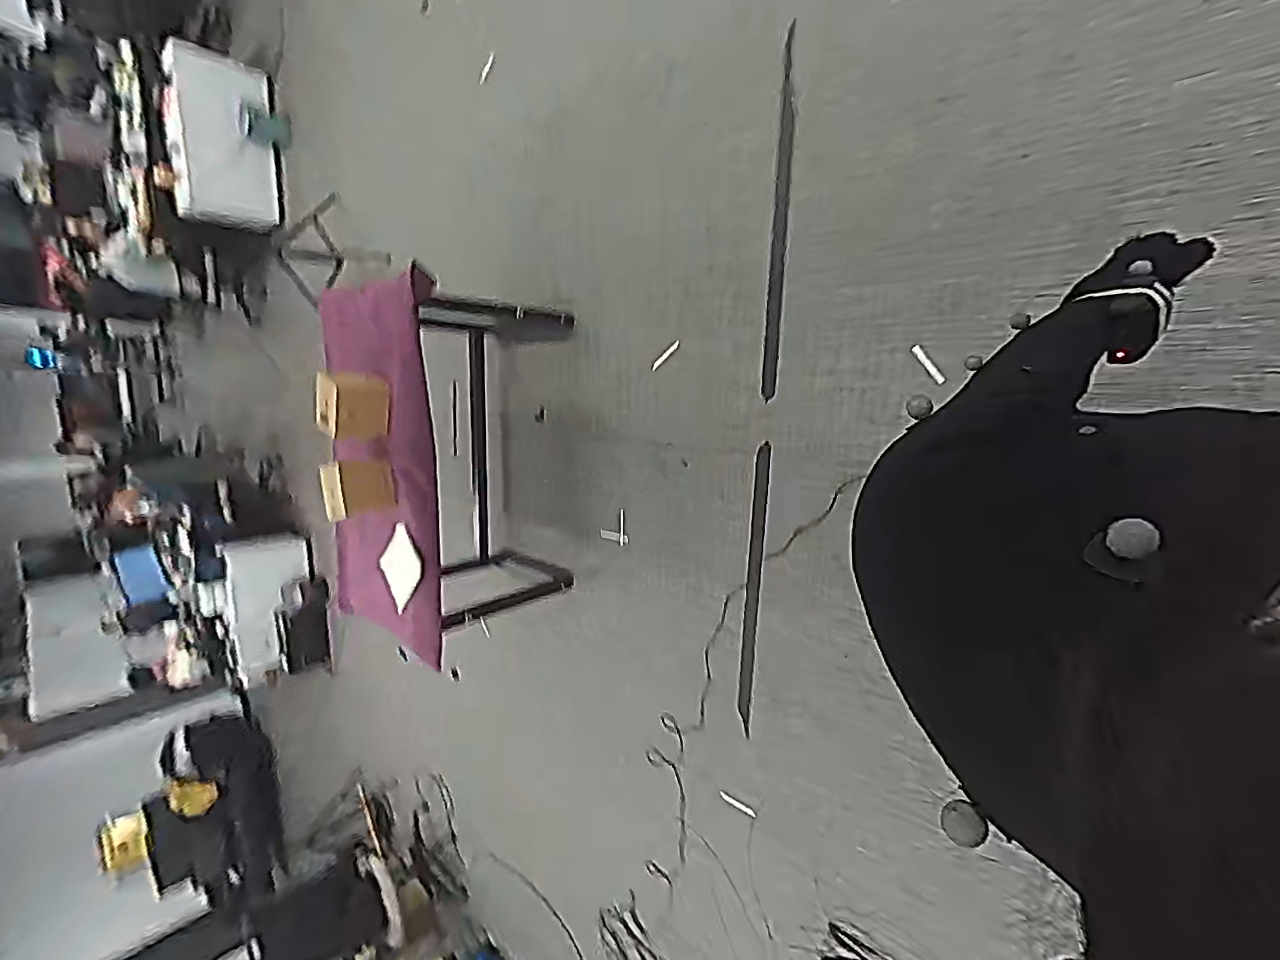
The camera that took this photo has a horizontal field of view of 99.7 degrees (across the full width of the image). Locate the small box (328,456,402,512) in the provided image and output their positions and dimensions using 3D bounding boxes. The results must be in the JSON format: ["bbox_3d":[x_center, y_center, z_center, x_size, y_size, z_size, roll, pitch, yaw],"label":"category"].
[{"bbox_3d":[-0.934,0.011,1.840,0.168,0.176,0.179,-6,91,43],"label":"small box"}]

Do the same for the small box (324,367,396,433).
[{"bbox_3d":[-0.928,-0.264,1.792,0.168,0.176,0.179,28,114,37],"label":"small box"}]
